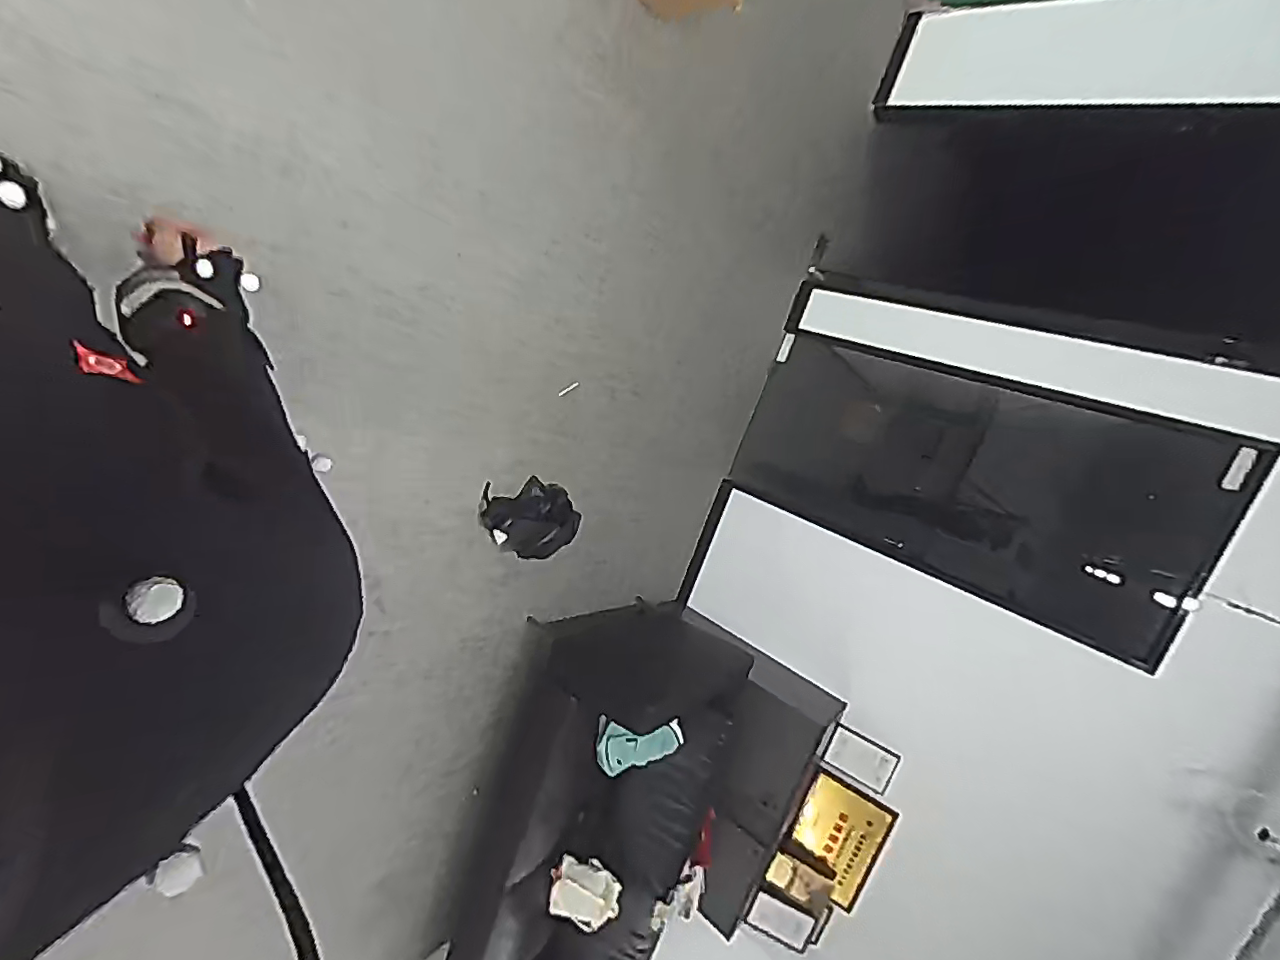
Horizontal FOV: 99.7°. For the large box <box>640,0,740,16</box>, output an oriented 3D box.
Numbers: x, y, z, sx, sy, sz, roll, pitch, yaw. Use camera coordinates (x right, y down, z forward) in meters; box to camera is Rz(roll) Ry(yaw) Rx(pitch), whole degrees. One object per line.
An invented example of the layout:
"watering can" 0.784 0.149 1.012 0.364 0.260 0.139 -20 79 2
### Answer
"large box" 0.135 -1.529 1.395 0.320 0.320 0.408 6 109 -55
